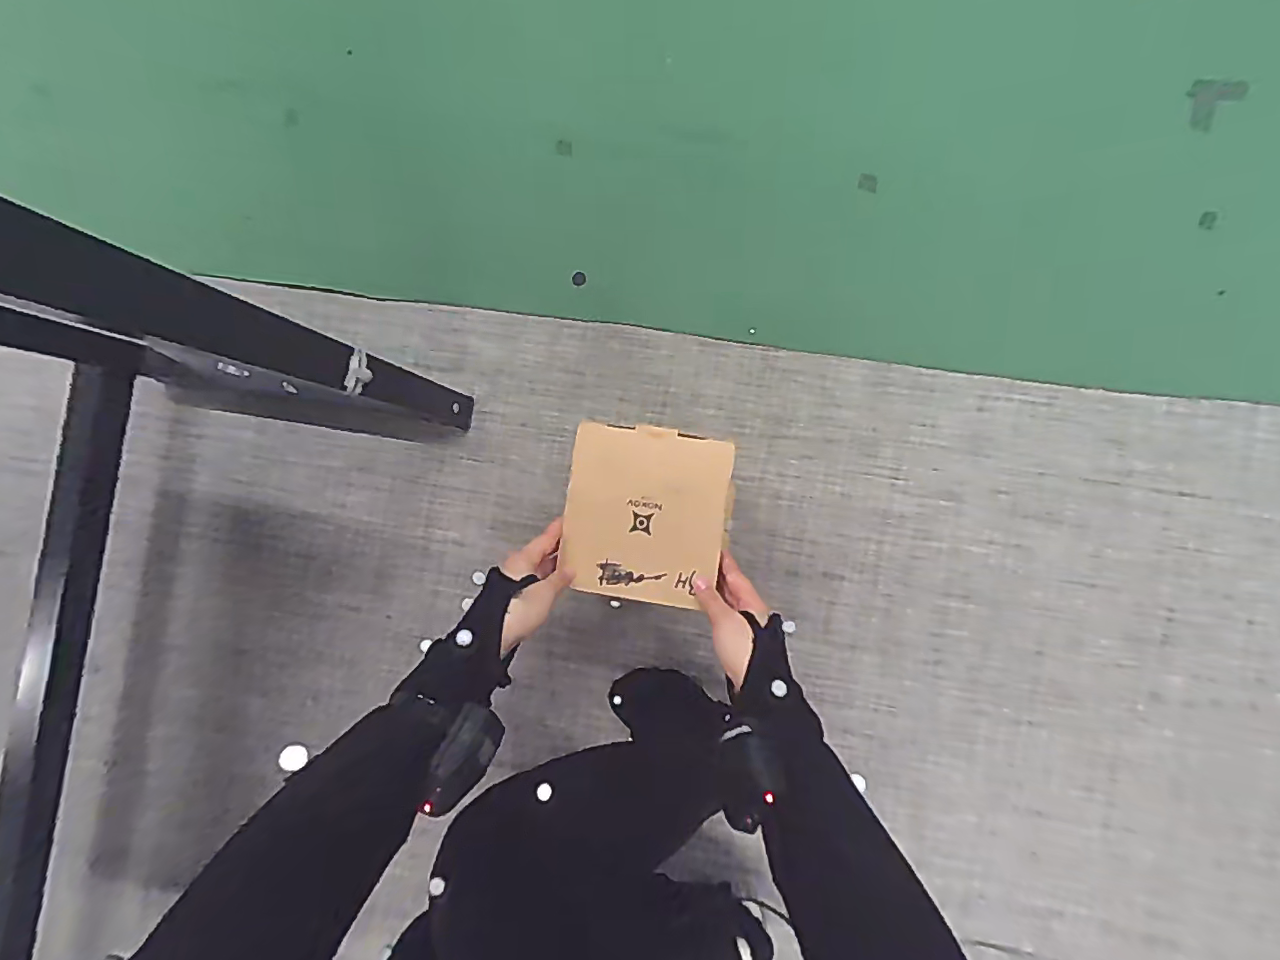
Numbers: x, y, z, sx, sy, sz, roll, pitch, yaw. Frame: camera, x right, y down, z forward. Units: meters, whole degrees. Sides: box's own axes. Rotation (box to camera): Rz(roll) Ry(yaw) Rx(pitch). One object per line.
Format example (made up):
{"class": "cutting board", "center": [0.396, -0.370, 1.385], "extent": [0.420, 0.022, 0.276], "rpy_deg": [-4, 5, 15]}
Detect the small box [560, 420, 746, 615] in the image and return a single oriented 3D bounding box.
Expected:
{"class": "small box", "center": [0.018, 0.041, 0.627], "extent": [0.168, 0.176, 0.179], "rpy_deg": [10, 88, 5]}
